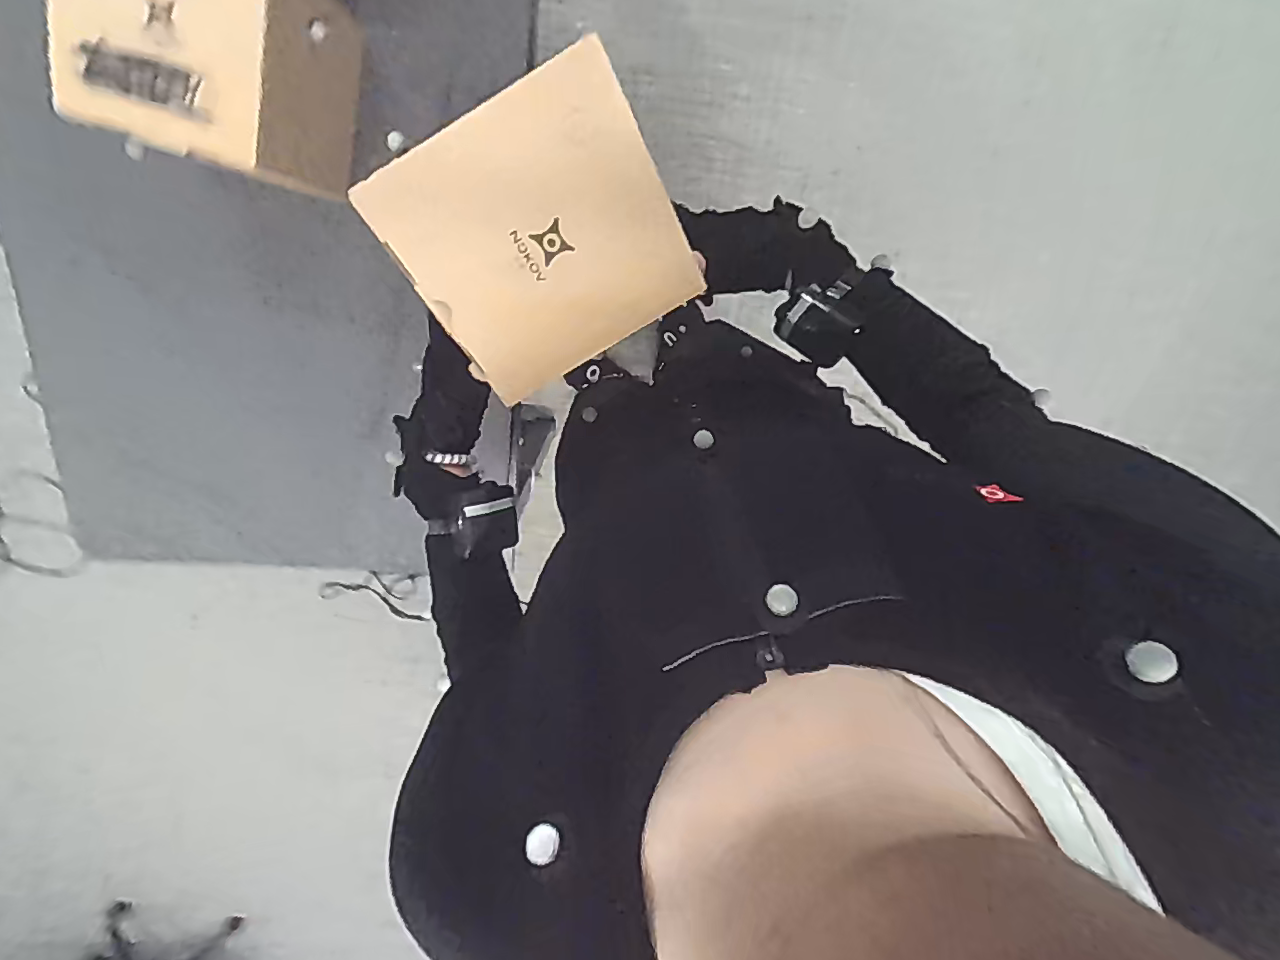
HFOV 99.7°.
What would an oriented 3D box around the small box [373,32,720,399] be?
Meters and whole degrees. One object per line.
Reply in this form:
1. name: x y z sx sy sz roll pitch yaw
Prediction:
1. small box: -0.067 -0.199 0.421 0.179 0.176 0.168 -29 122 5
